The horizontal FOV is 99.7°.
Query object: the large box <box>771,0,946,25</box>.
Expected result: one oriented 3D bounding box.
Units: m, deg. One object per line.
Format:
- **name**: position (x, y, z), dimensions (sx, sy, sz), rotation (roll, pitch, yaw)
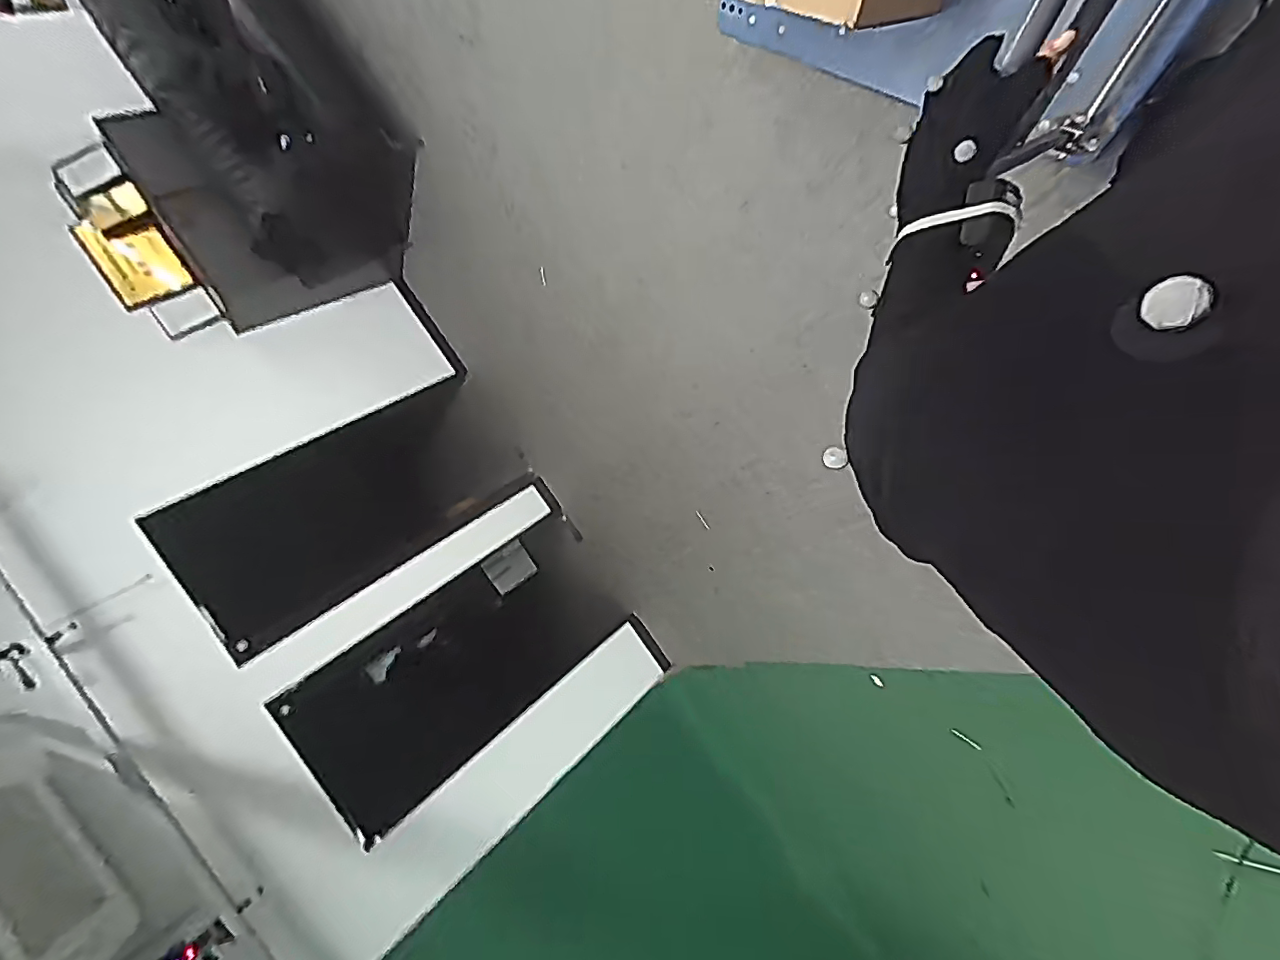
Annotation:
- **large box**: position (0.358, -0.990, 0.814), dimensions (0.320, 0.320, 0.408), rotation (40, 148, 24)
